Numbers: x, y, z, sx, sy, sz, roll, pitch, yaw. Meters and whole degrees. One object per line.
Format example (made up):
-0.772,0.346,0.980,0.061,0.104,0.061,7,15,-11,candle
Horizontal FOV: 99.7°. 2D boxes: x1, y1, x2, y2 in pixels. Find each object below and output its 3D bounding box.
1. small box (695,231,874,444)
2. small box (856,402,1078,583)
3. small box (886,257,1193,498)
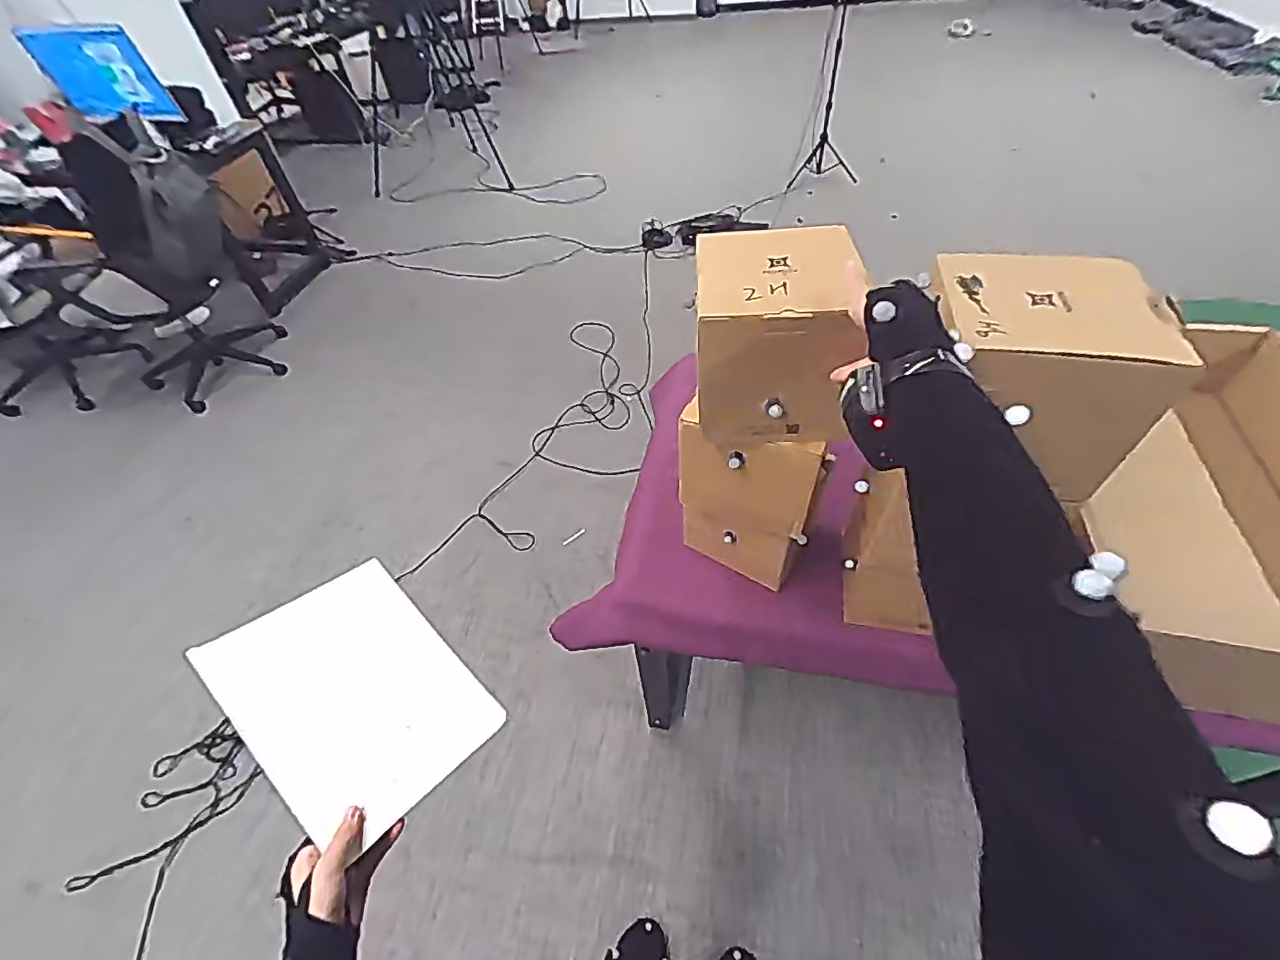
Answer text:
0.146,-0.160,0.616,0.168,0.176,0.179,-1,49,6,small box
0.377,0.008,0.664,0.179,0.176,0.168,8,49,12,small box
0.366,-0.100,0.542,0.179,0.176,0.168,7,49,11,small box
